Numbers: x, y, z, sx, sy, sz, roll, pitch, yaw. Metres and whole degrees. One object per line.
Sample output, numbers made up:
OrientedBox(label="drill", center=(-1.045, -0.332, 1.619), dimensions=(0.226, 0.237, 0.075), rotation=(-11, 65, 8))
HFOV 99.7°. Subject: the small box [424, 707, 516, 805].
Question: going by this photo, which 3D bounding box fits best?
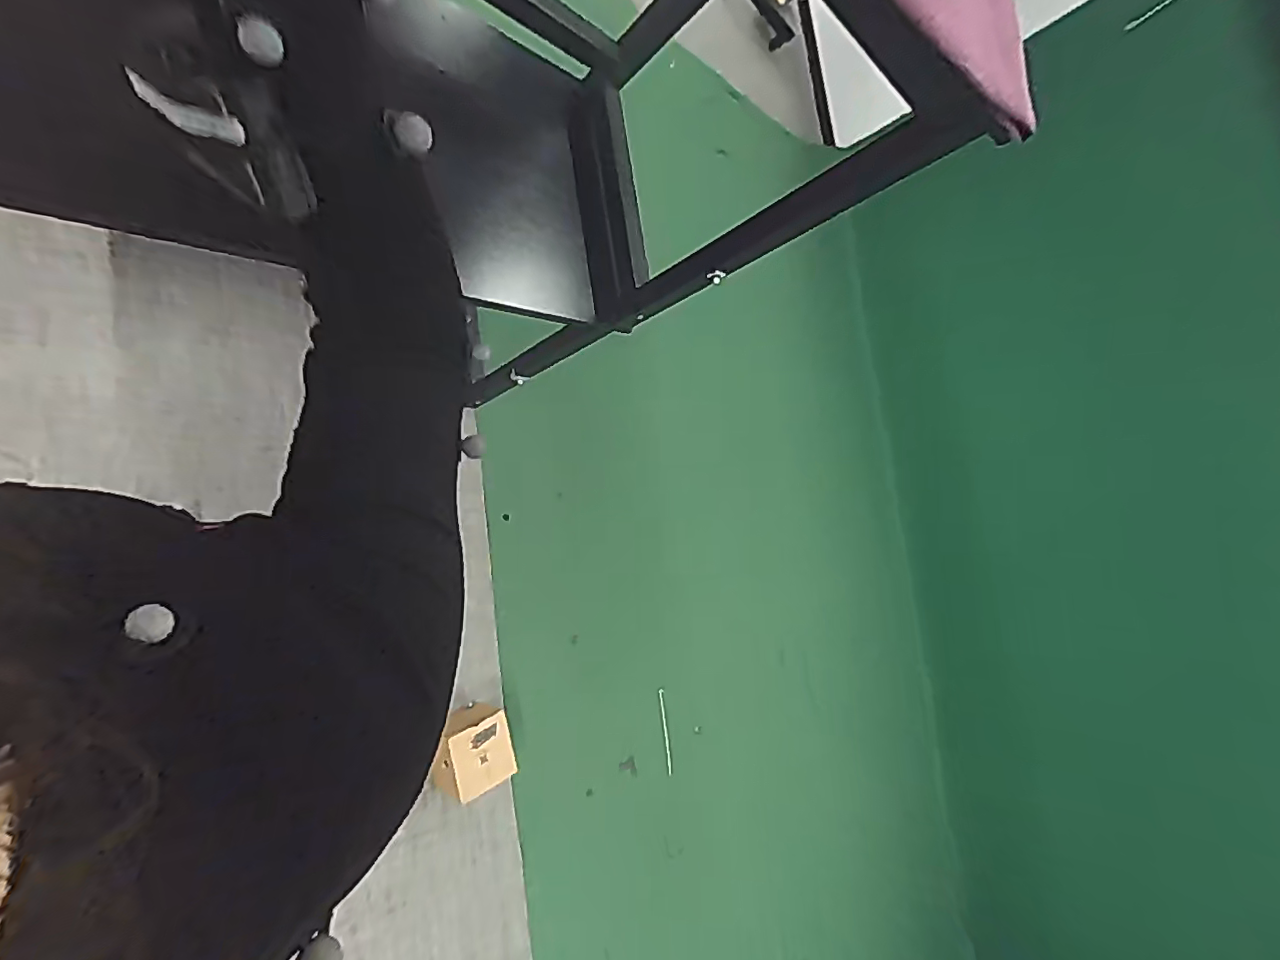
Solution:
OrientedBox(label="small box", center=(-0.465, 0.733, 1.465), dimensions=(0.168, 0.176, 0.179), rotation=(-12, 90, -44))
